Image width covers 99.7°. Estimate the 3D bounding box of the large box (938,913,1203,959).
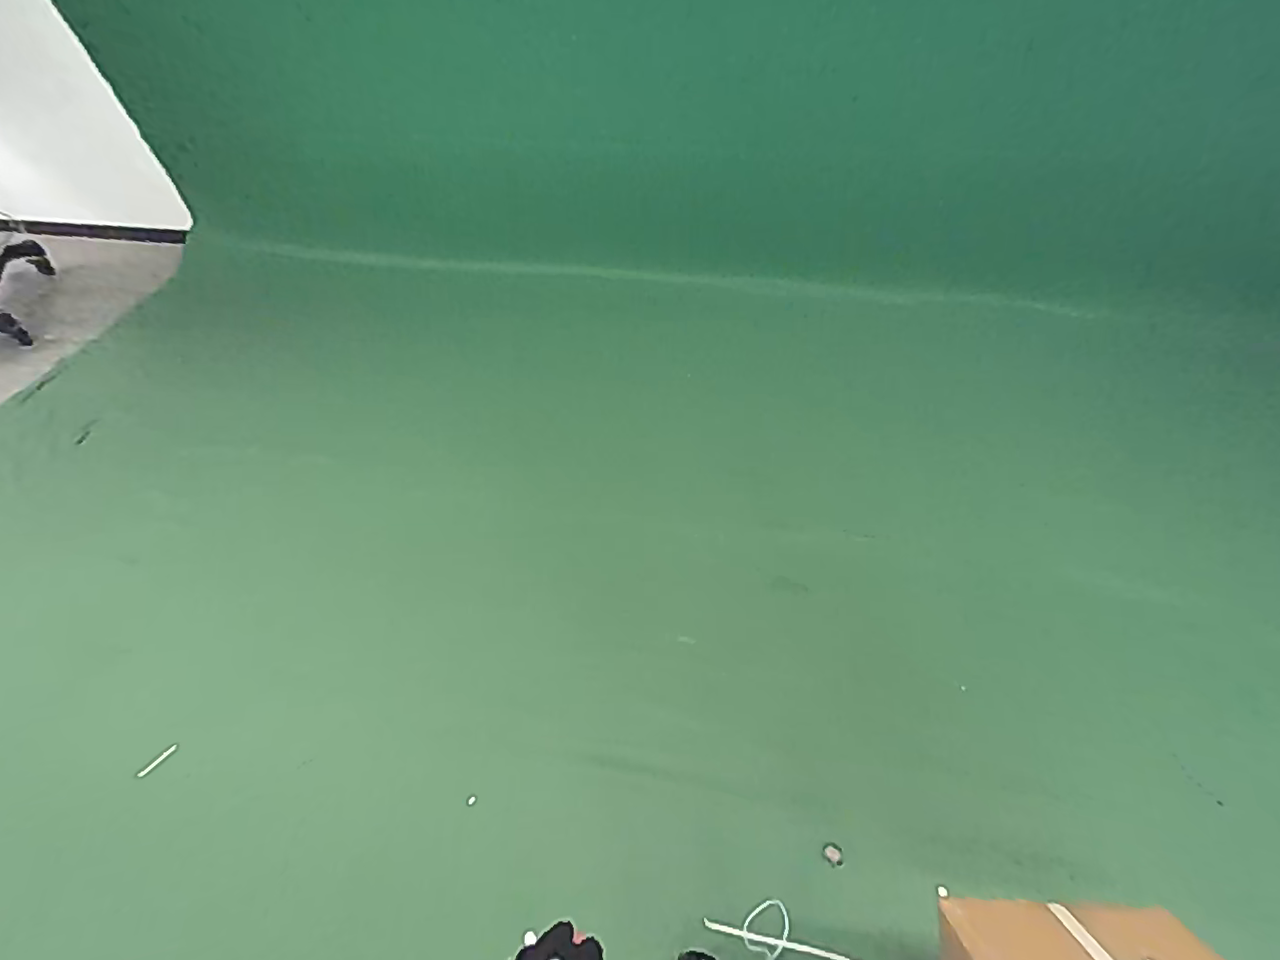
[{"bbox_3d":[0.574,0.769,0.571,0.320,0.408,0.320,-1,85,6],"label":"large box"}]
